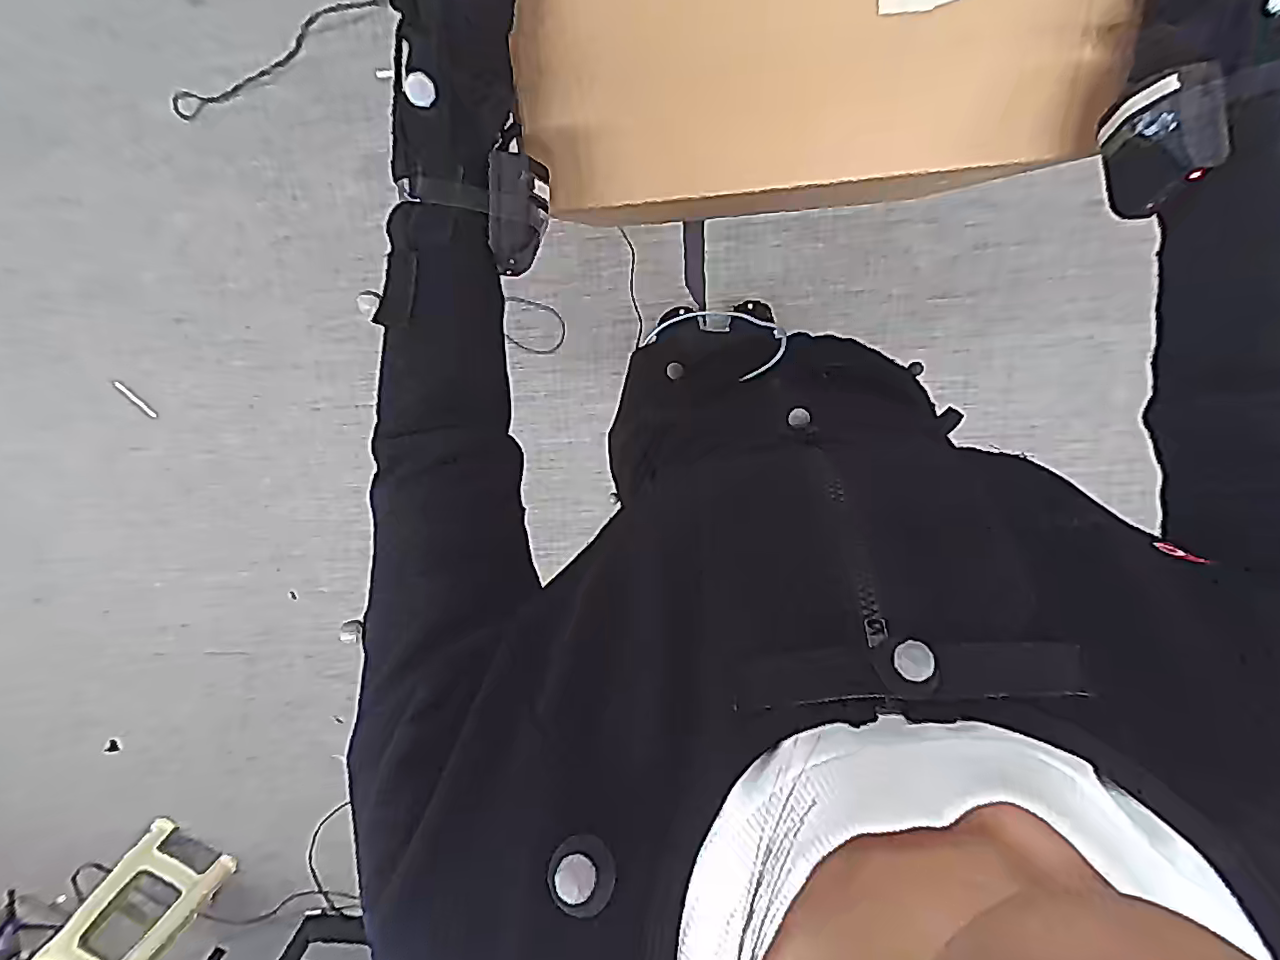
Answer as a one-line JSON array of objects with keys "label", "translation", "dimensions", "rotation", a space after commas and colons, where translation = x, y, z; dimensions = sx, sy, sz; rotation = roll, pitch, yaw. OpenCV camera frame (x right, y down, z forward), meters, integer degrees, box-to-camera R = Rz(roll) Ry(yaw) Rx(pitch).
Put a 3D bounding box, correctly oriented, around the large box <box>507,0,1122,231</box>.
[{"label": "large box", "translation": [0.111, -0.416, 0.473], "dimensions": [0.408, 0.320, 0.320], "rotation": [-4, 113, 5]}]
